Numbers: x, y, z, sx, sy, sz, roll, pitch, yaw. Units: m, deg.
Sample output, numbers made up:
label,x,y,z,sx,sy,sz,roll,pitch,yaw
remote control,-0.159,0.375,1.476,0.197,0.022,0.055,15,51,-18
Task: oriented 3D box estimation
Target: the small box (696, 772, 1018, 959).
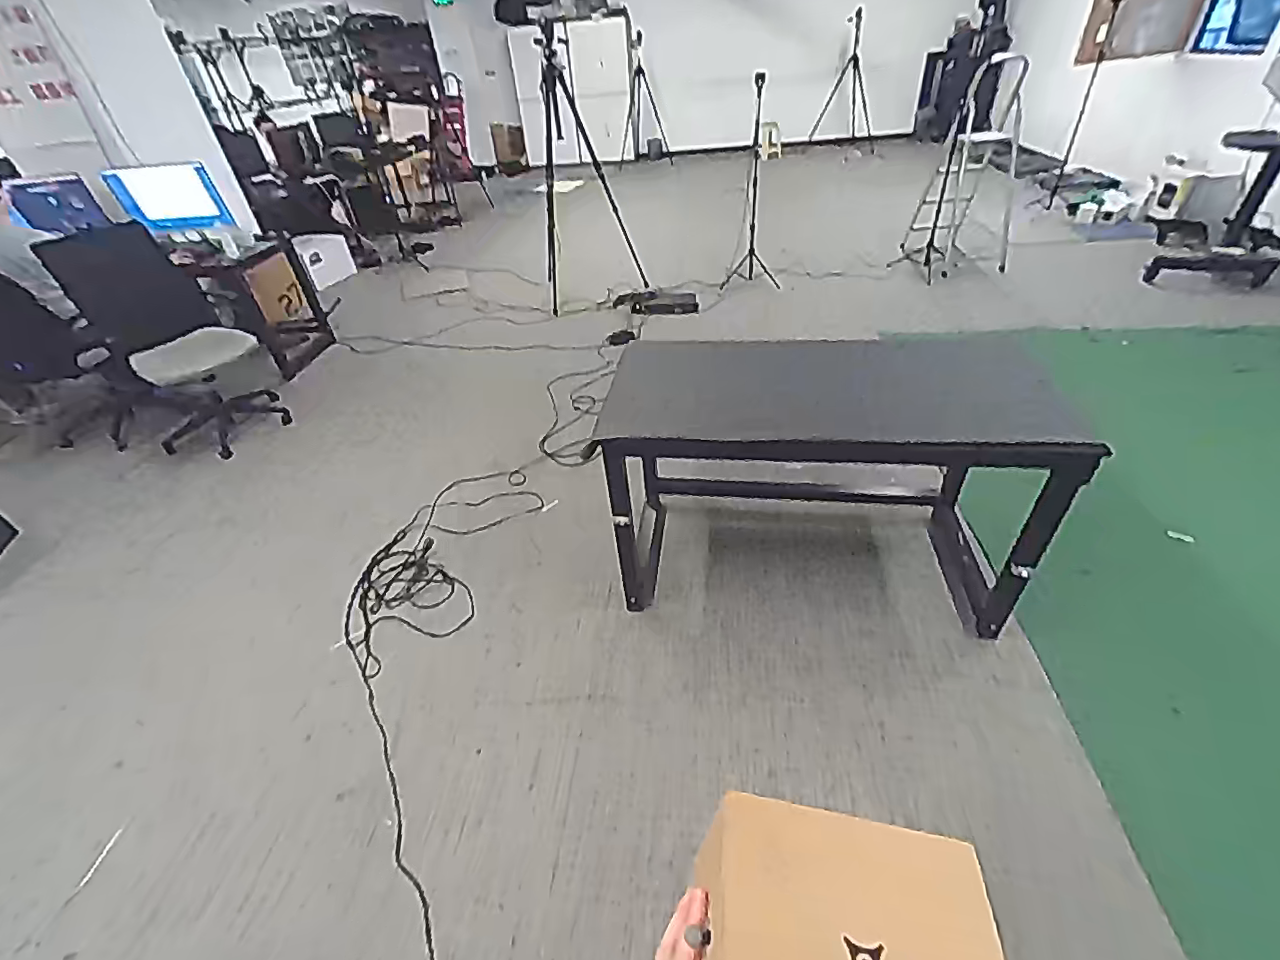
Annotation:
label,x,y,z,sx,sy,sz,roll,pitch,yaw
small box,0.126,0.331,0.355,0.168,0.176,0.179,9,41,6
